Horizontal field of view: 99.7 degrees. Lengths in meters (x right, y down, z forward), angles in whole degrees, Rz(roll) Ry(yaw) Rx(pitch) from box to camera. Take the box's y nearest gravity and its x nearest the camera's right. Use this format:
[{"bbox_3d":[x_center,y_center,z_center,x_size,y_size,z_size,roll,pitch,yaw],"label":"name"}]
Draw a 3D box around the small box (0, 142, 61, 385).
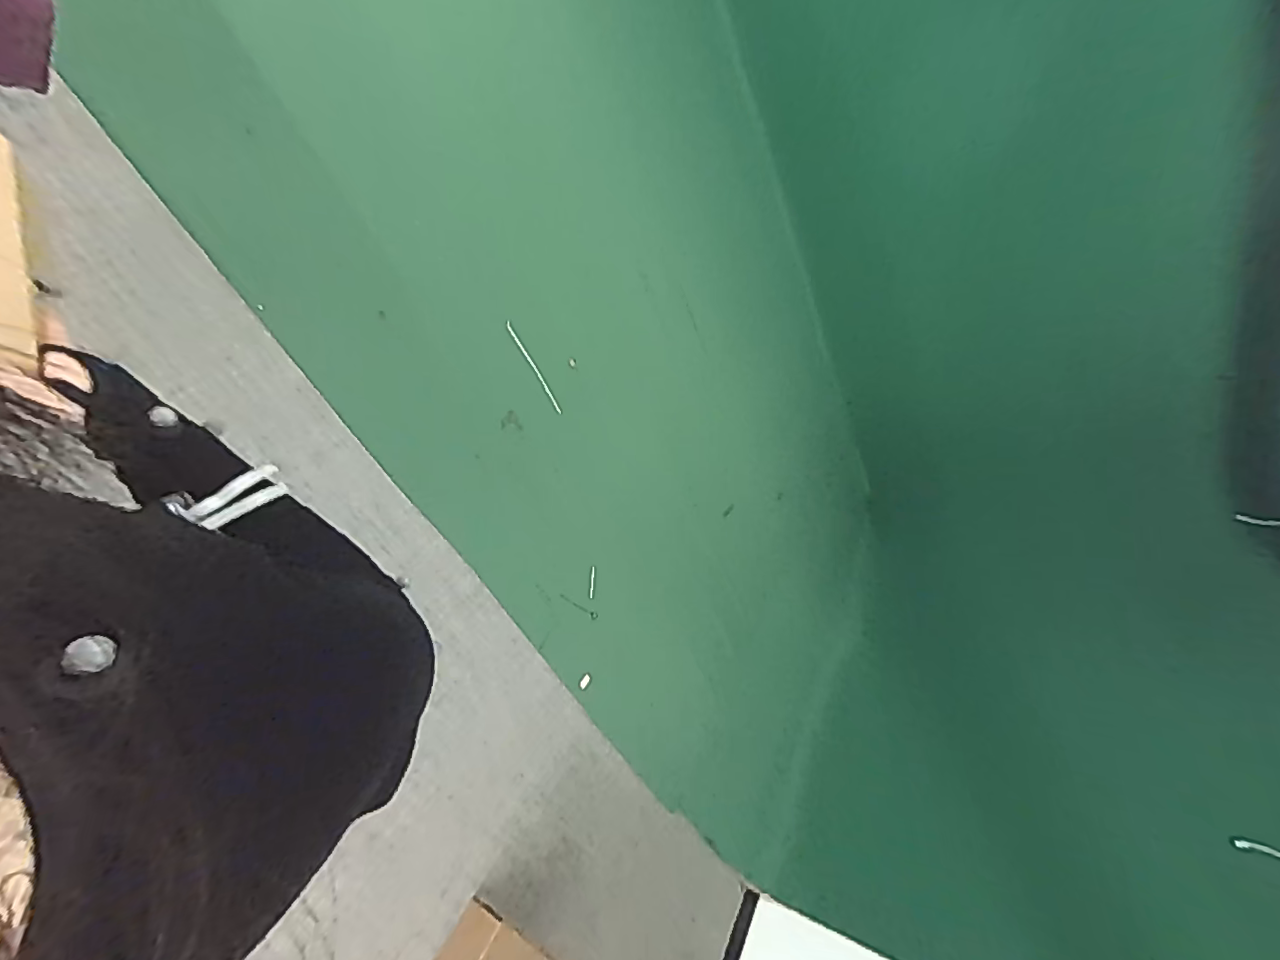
[{"bbox_3d":[-0.570,-0.164,0.404,0.168,0.176,0.179,-6,99,-41],"label":"small box"}]
